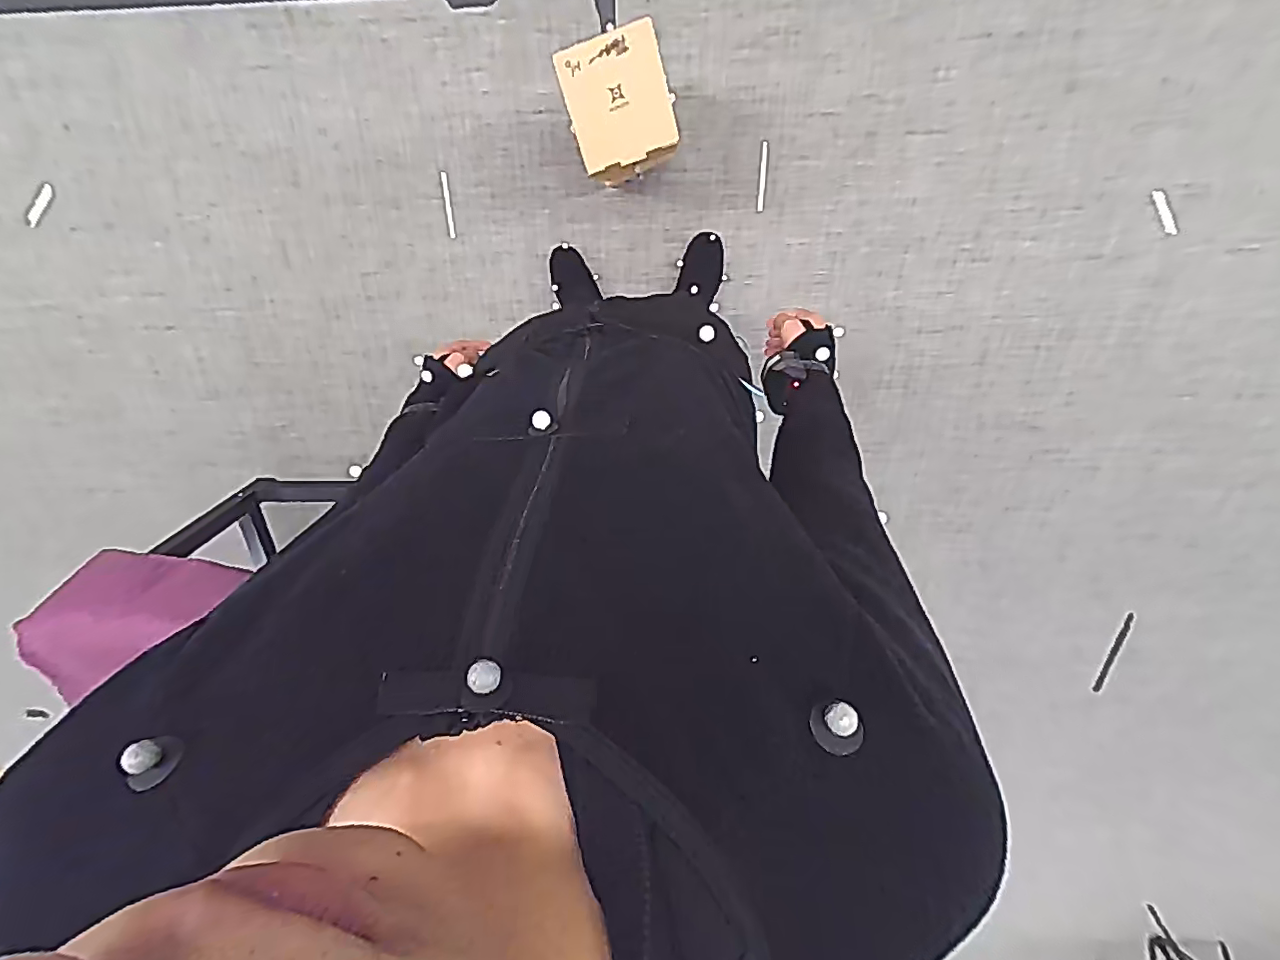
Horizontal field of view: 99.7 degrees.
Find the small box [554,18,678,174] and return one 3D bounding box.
[{"bbox_3d":[-0.033,-0.656,0.948,0.168,0.176,0.179,-15,117,9],"label":"small box"}]
